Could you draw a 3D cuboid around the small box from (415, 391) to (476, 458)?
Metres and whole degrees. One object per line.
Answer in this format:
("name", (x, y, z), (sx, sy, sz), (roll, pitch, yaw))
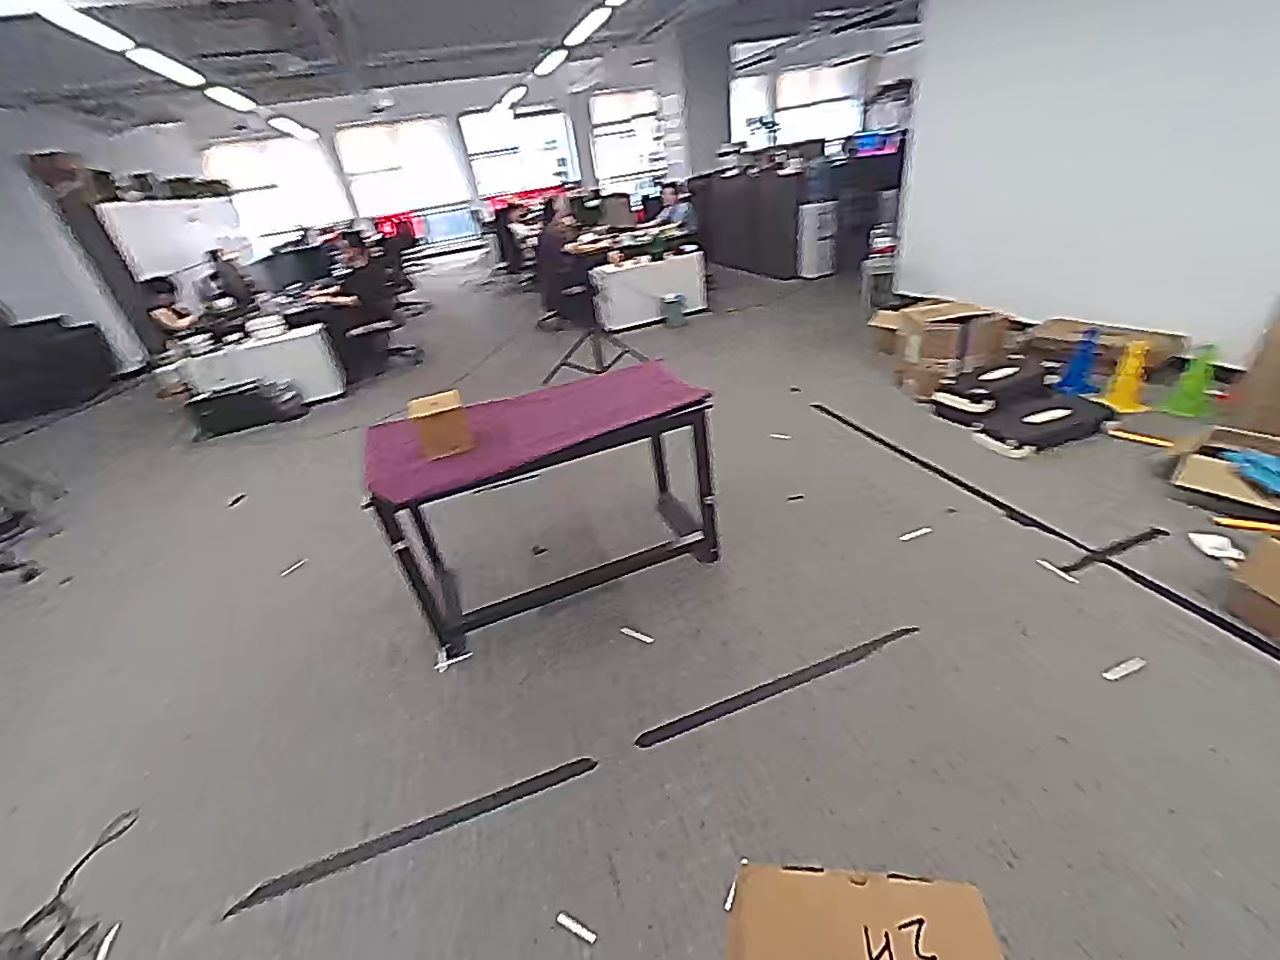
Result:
("small box", (-0.693, -0.199, 1.926), (0.168, 0.176, 0.179), (-17, 33, -15))

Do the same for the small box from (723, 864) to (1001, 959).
("small box", (0.145, 0.393, 0.358), (0.168, 0.176, 0.179), (2, 35, 4))
